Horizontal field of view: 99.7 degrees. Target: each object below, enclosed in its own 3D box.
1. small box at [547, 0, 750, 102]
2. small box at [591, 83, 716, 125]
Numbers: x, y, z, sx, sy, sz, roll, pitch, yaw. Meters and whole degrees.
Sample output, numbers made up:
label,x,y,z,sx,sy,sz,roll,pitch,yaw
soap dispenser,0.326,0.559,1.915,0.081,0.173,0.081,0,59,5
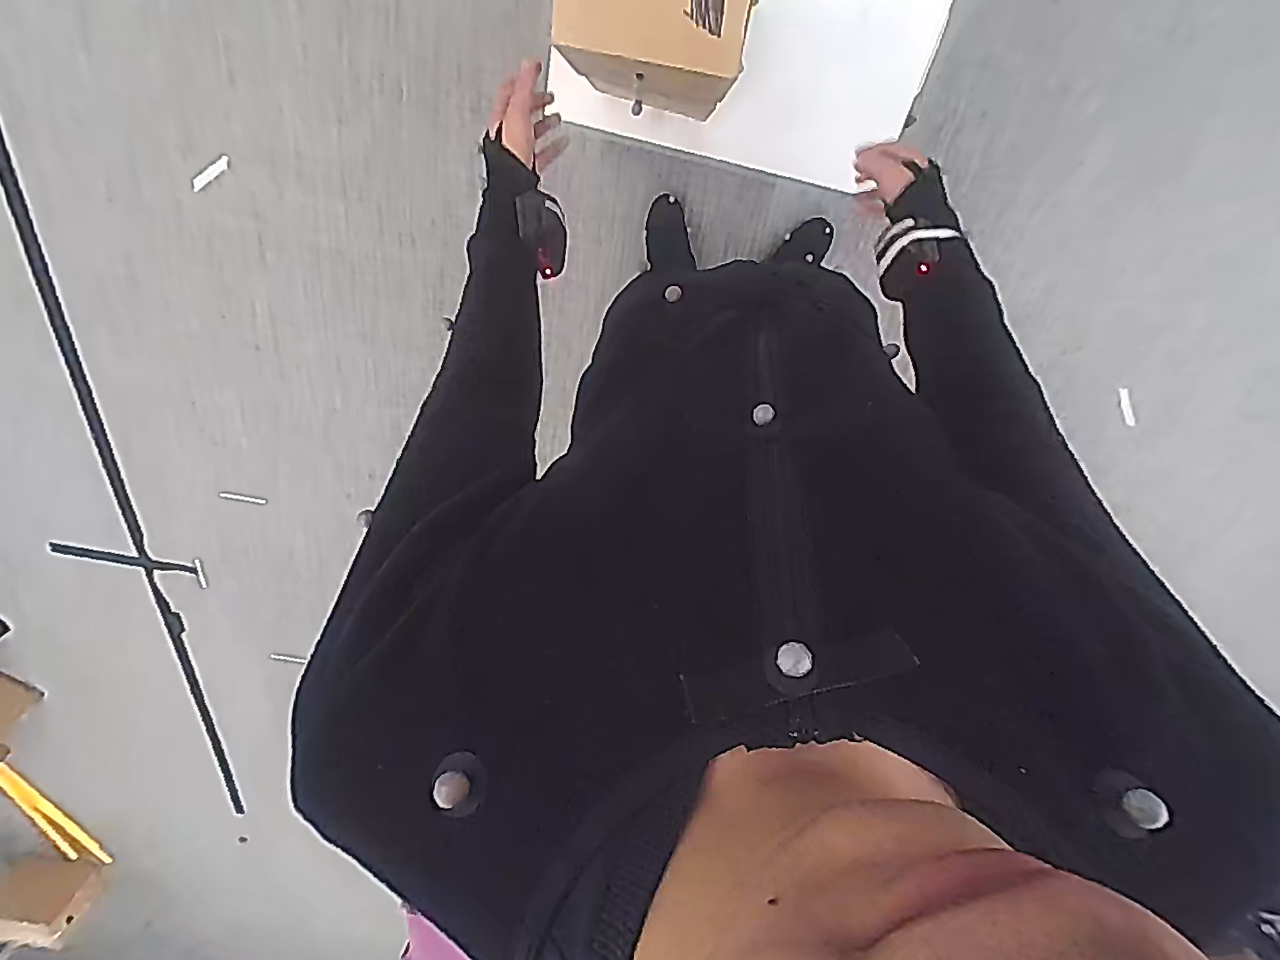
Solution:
label,x,y,z,sx,sy,sz,roll,pitch,yaw
small box,0.017,-0.486,0.526,0.179,0.176,0.168,9,118,-2
small box,0.028,-0.566,0.669,0.168,0.176,0.179,12,119,-5
